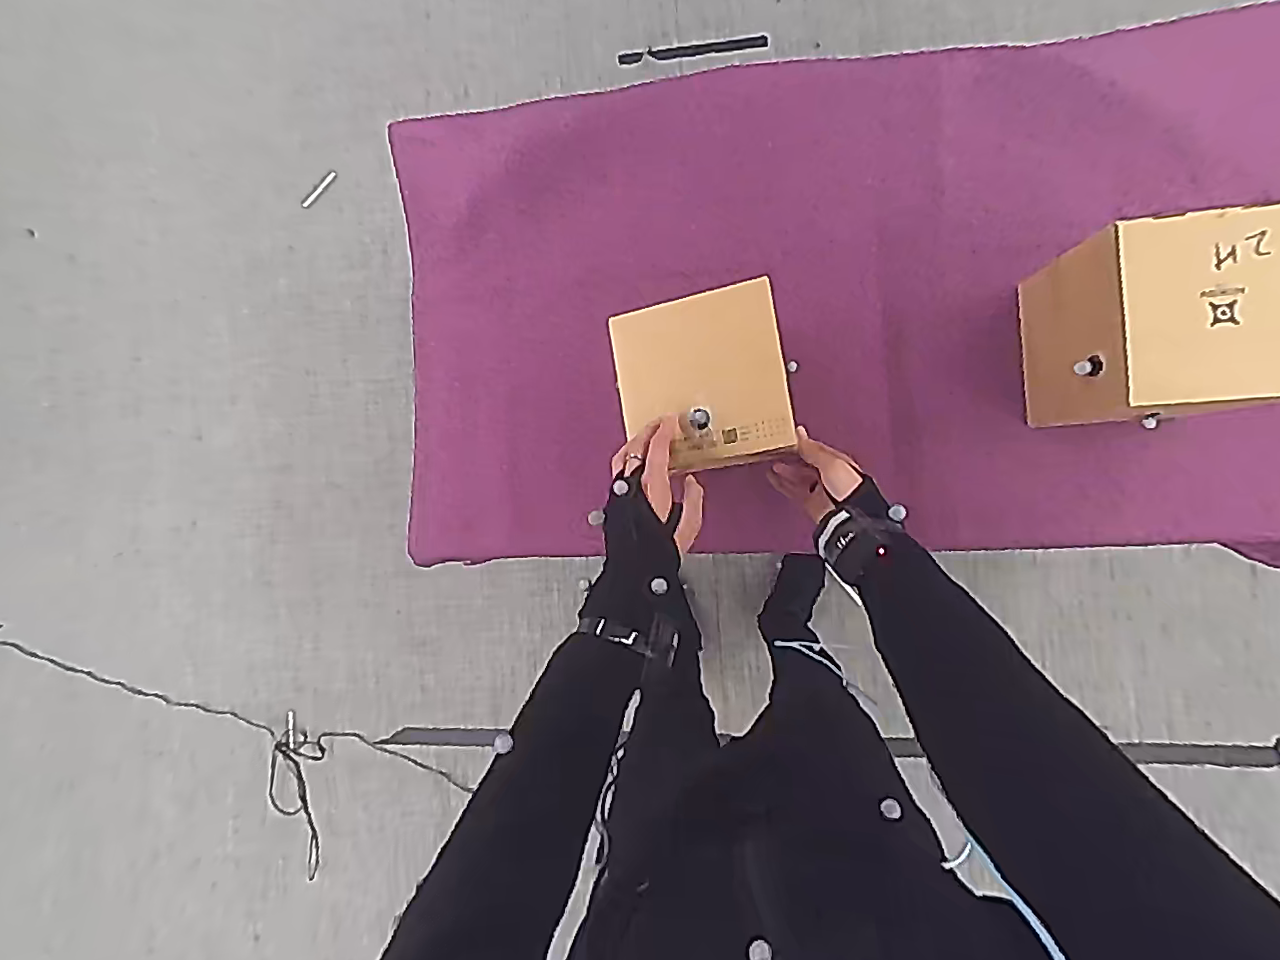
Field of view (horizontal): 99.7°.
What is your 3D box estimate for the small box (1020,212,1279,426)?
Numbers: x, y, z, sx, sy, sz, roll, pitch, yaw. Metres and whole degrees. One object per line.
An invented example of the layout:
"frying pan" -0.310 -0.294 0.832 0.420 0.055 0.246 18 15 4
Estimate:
"small box" 0.534 -0.151 0.569 0.168 0.176 0.179 -3 89 8
